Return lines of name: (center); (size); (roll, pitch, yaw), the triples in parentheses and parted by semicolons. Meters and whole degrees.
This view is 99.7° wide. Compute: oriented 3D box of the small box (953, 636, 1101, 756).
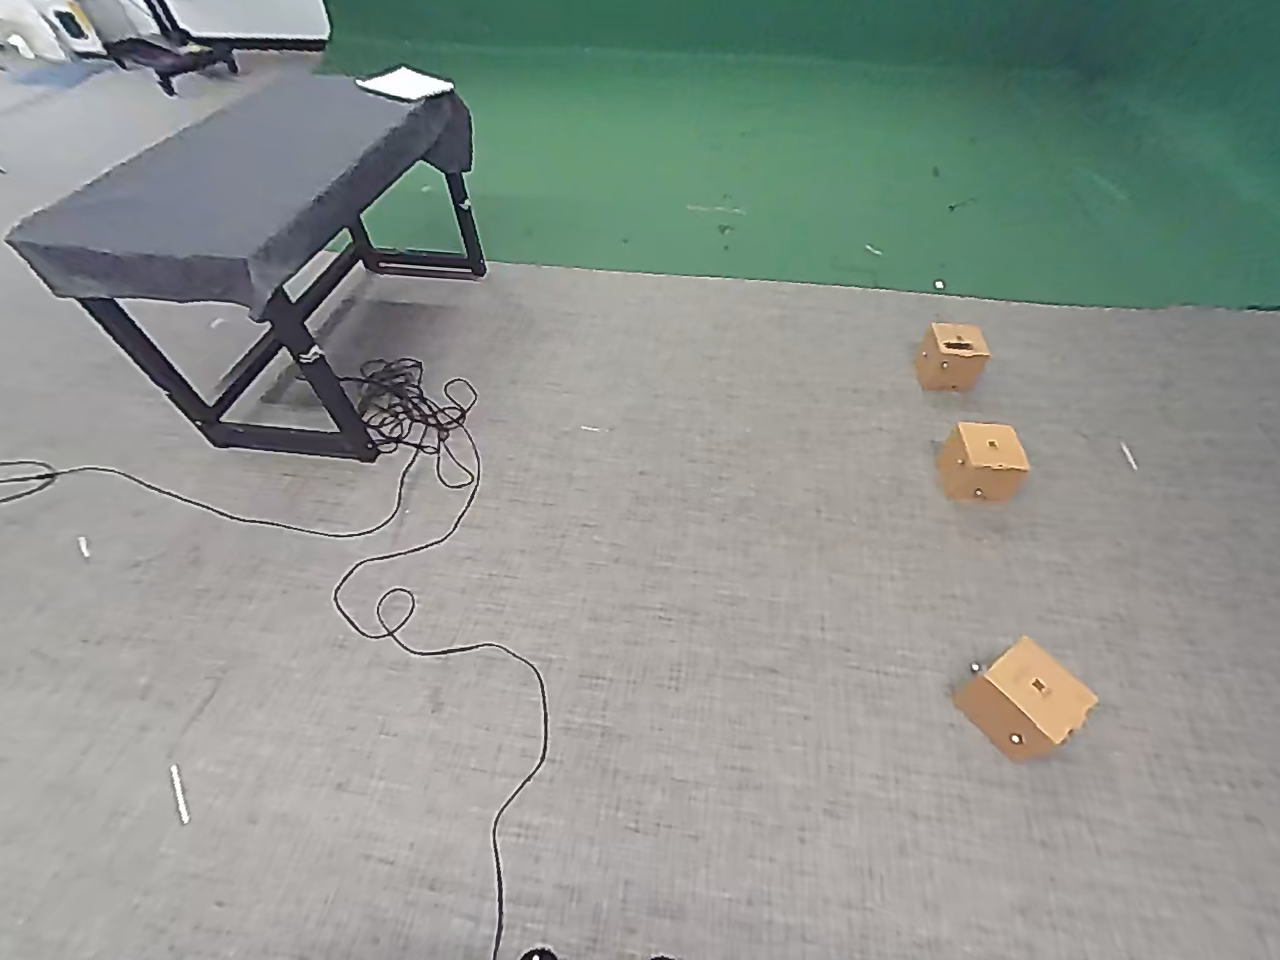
small box: (0.857, 0.492, 1.214); (0.168, 0.176, 0.179); (-28, 56, -21)

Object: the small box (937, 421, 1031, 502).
small box: (1.032, -0.056, 1.642); (0.168, 0.176, 0.179); (4, 52, 4)
